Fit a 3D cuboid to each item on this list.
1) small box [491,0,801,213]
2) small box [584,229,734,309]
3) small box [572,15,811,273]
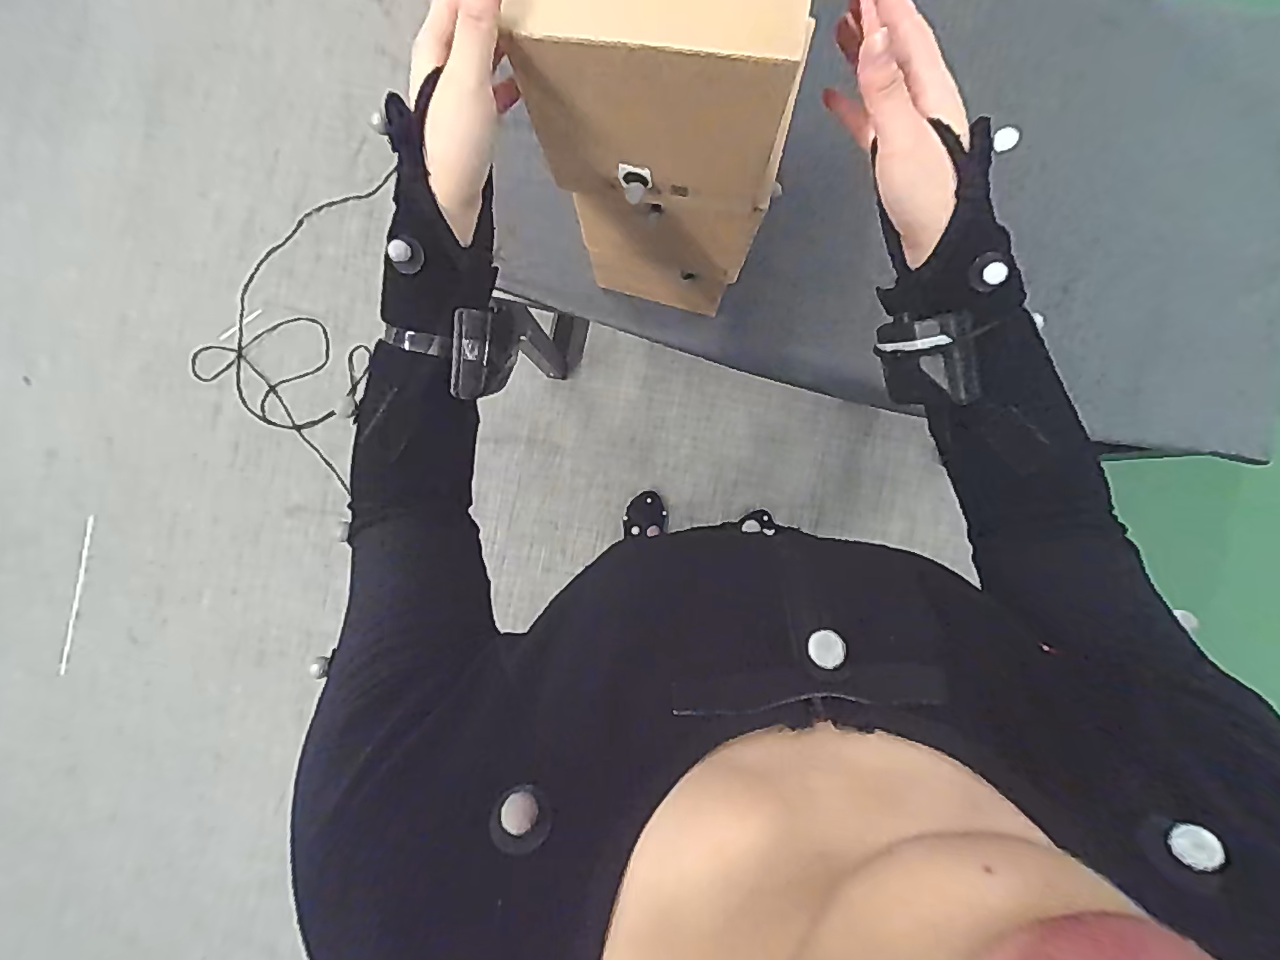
[{"bbox_3d":[0.016,-0.315,0.366,0.168,0.176,0.179,9,91,3],"label":"small box"},{"bbox_3d":[0.042,-0.335,0.690,0.179,0.176,0.168,15,90,2],"label":"small box"},{"bbox_3d":[0.041,-0.322,0.528,0.179,0.176,0.168,14,91,3],"label":"small box"}]
